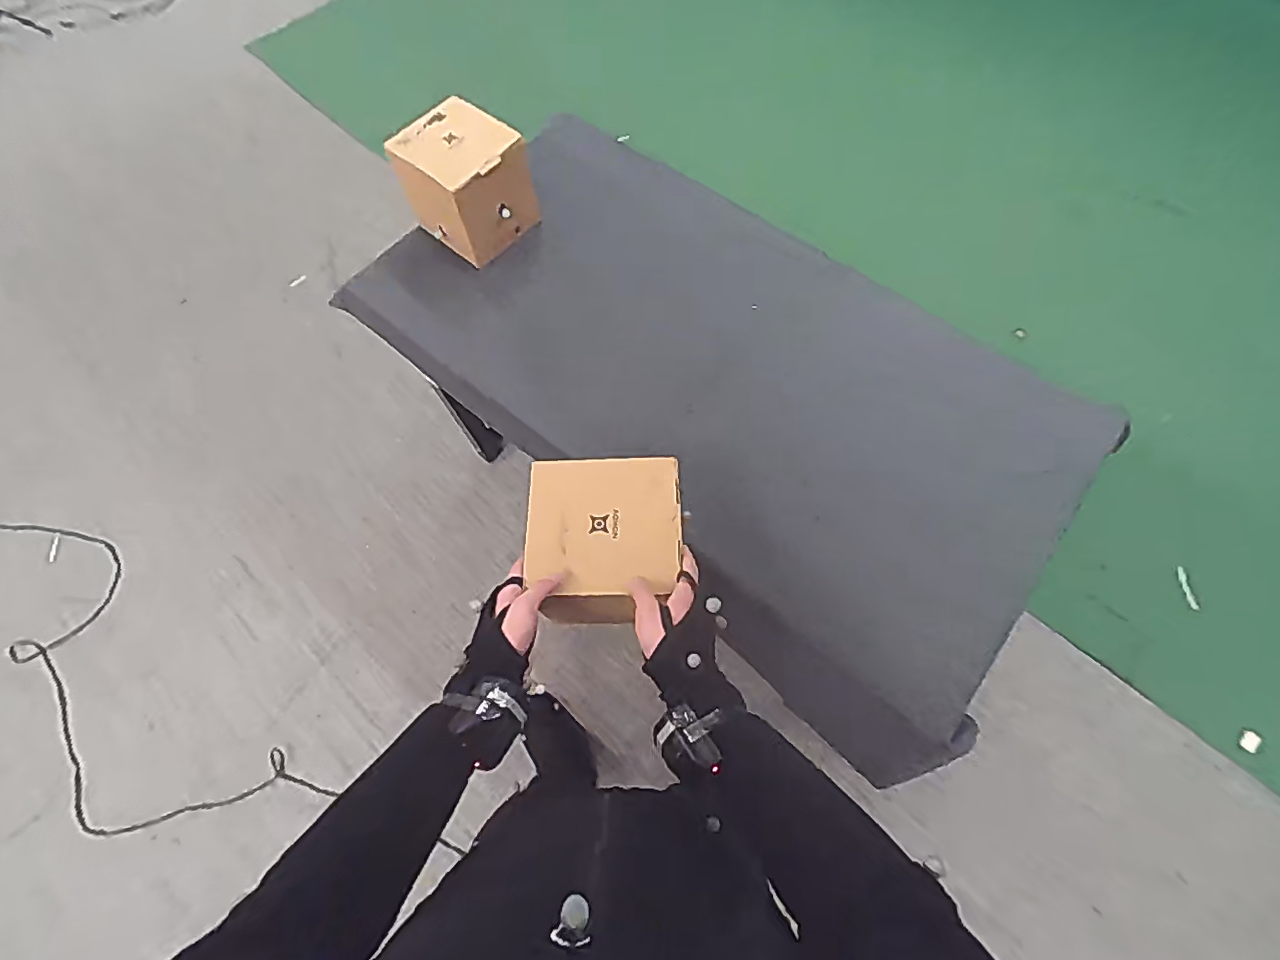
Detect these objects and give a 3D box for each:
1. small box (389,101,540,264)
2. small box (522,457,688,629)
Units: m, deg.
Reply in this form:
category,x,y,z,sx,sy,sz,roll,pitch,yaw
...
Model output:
category,x,y,z,sx,sy,sz,roll,pitch,yaw
small box,-0.302,-0.523,0.973,0.179,0.176,0.168,38,71,14
small box,-0.034,0.084,0.669,0.179,0.176,0.168,-3,63,3
